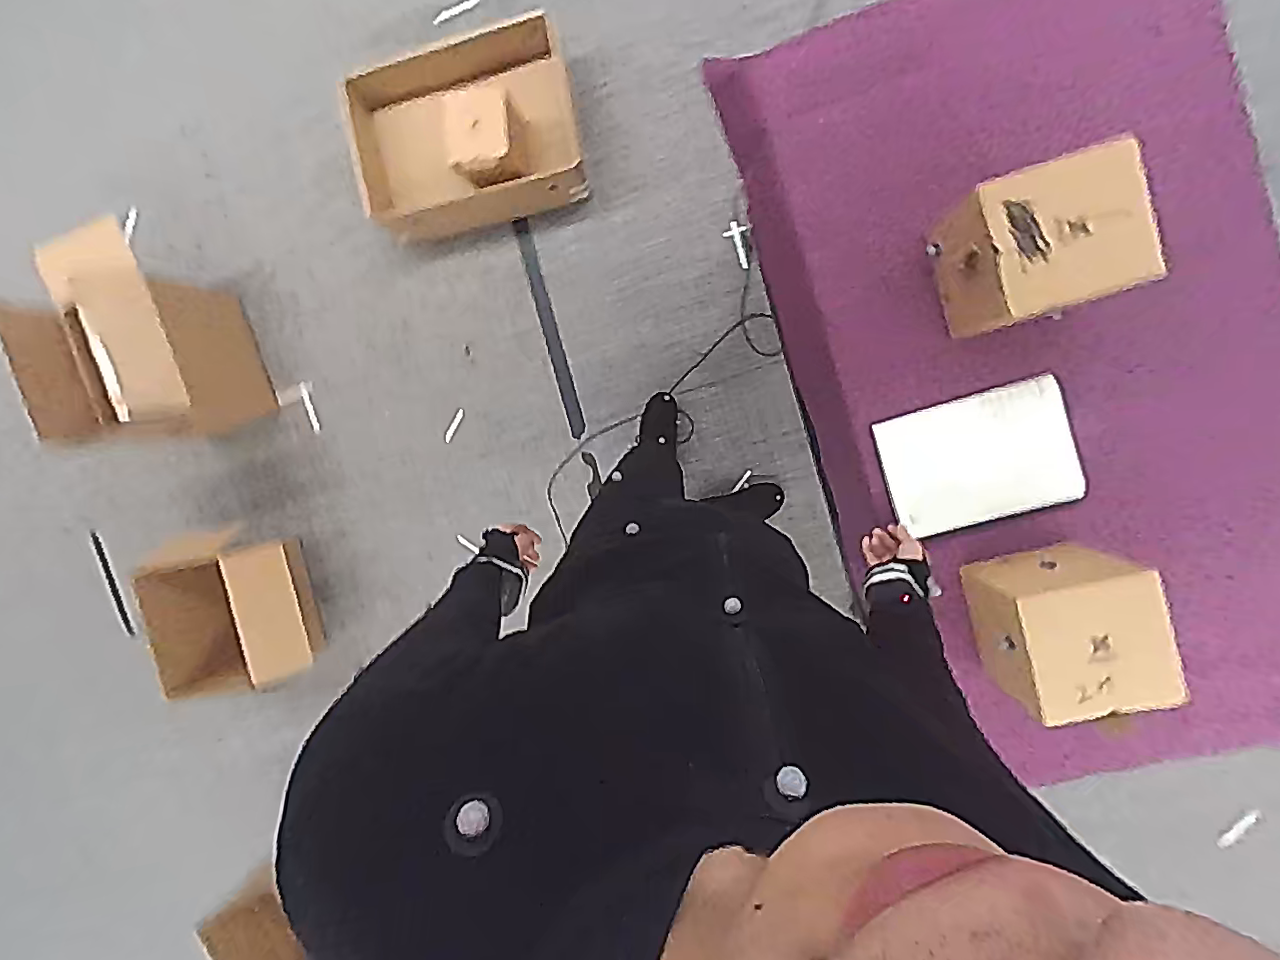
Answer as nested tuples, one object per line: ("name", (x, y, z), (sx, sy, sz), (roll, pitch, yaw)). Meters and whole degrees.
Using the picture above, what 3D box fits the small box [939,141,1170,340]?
("small box", (0.521, -0.296, 0.713), (0.179, 0.176, 0.168), (-15, 94, 9))

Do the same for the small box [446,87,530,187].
("small box", (-0.407, -0.923, 1.474), (0.168, 0.176, 0.179), (-1, 96, 9))

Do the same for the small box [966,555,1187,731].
("small box", (0.586, 0.212, 0.752), (0.168, 0.176, 0.179), (-14, 93, 9))
